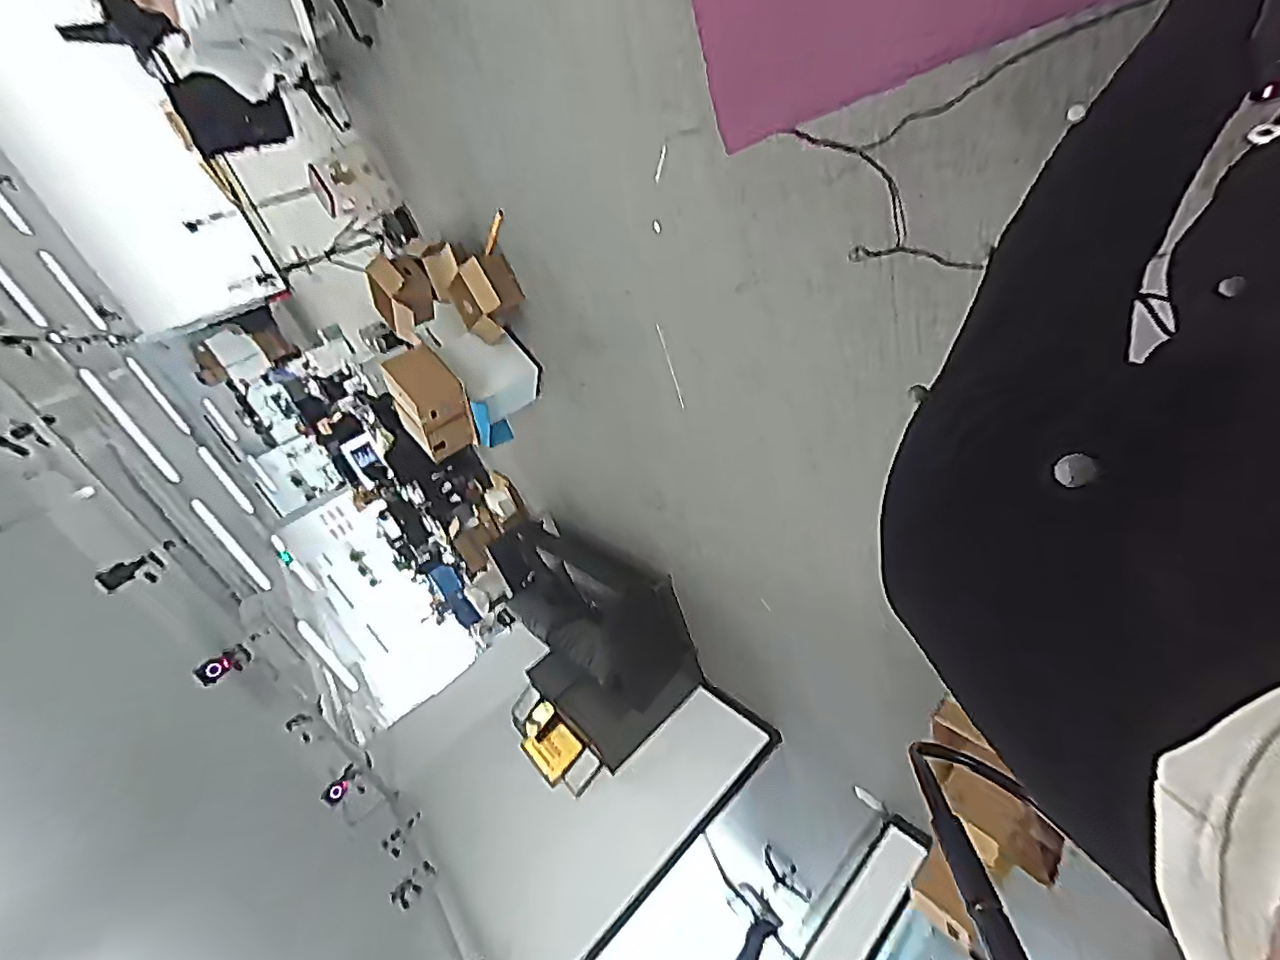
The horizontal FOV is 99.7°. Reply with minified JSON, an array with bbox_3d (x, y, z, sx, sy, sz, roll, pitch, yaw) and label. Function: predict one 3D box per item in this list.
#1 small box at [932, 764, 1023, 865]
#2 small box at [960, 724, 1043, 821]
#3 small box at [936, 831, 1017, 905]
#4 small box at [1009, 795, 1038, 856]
[{"bbox_3d":[1.009,0.992,1.625,0.179,0.176,0.168,24,142,45],"label":"small box"},{"bbox_3d":[1.132,0.908,1.697,0.179,0.176,0.168,23,140,46],"label":"small box"},{"bbox_3d":[1.092,1.211,1.758,0.179,0.176,0.168,18,136,48],"label":"small box"},{"bbox_3d":[1.211,1.128,1.834,0.179,0.176,0.168,21,138,47],"label":"small box"}]
